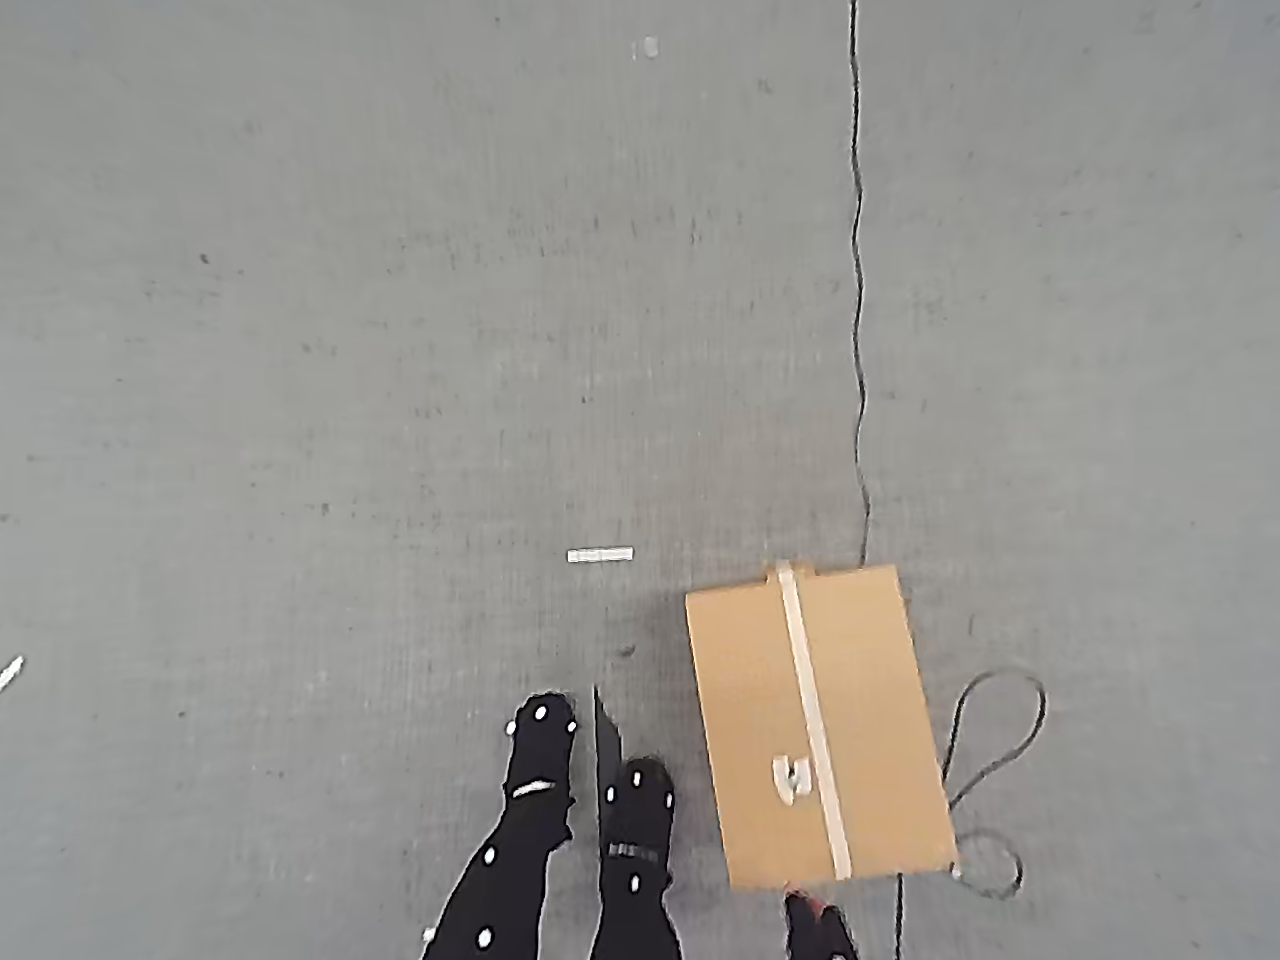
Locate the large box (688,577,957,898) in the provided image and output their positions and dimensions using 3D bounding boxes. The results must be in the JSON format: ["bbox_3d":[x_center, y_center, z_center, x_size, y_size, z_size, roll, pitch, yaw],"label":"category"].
[{"bbox_3d":[0.268,0.392,0.929,0.320,0.320,0.408,-9,81,4],"label":"large box"}]
